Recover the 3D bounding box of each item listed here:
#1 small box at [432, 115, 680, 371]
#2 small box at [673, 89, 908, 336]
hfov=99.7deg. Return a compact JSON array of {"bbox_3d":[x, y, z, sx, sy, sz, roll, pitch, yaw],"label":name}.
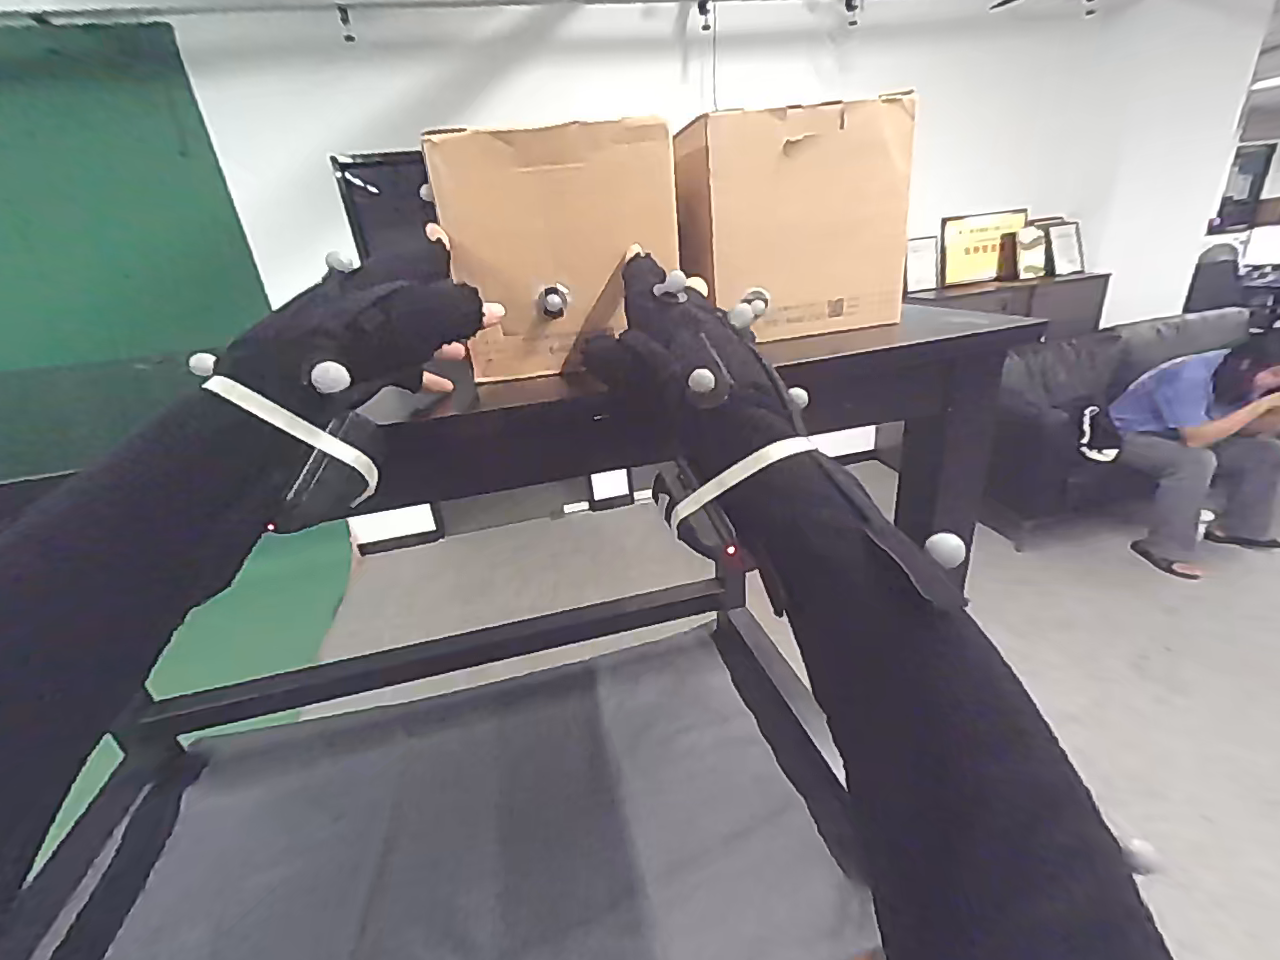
[{"bbox_3d":[-0.063,-0.196,0.470,0.168,0.176,0.179,-8,24,-6],"label":"small box"},{"bbox_3d":[0.119,-0.232,0.502,0.168,0.176,0.179,-10,22,-8],"label":"small box"}]
